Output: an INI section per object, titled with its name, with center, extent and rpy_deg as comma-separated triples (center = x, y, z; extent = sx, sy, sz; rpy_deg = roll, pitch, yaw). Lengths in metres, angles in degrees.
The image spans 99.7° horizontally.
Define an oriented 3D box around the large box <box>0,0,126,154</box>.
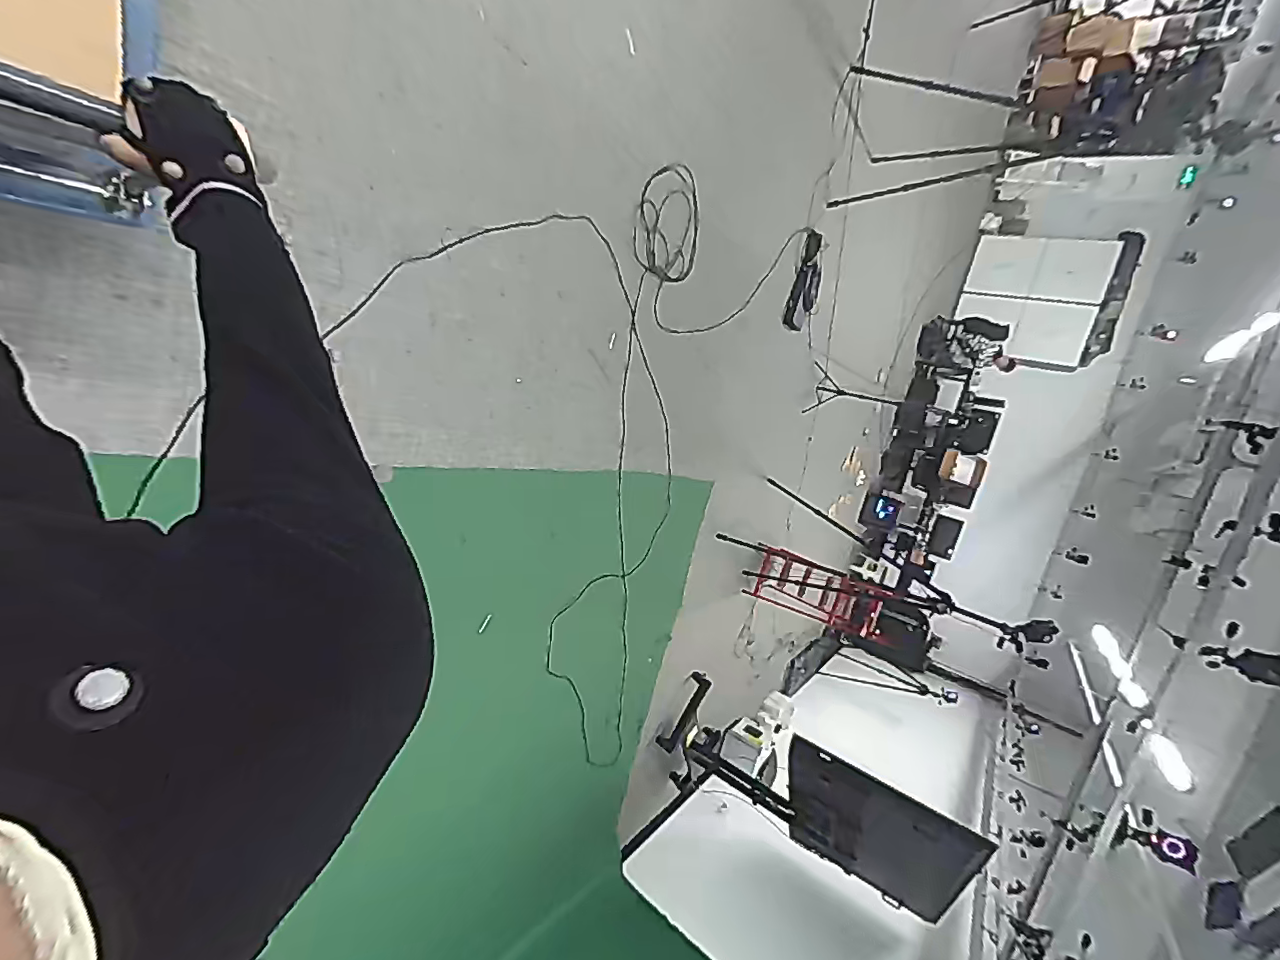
[large box]
center = -0.905, -0.692, 0.679
extent = 0.320, 0.320, 0.408
rpy_deg = -9, 112, -54
